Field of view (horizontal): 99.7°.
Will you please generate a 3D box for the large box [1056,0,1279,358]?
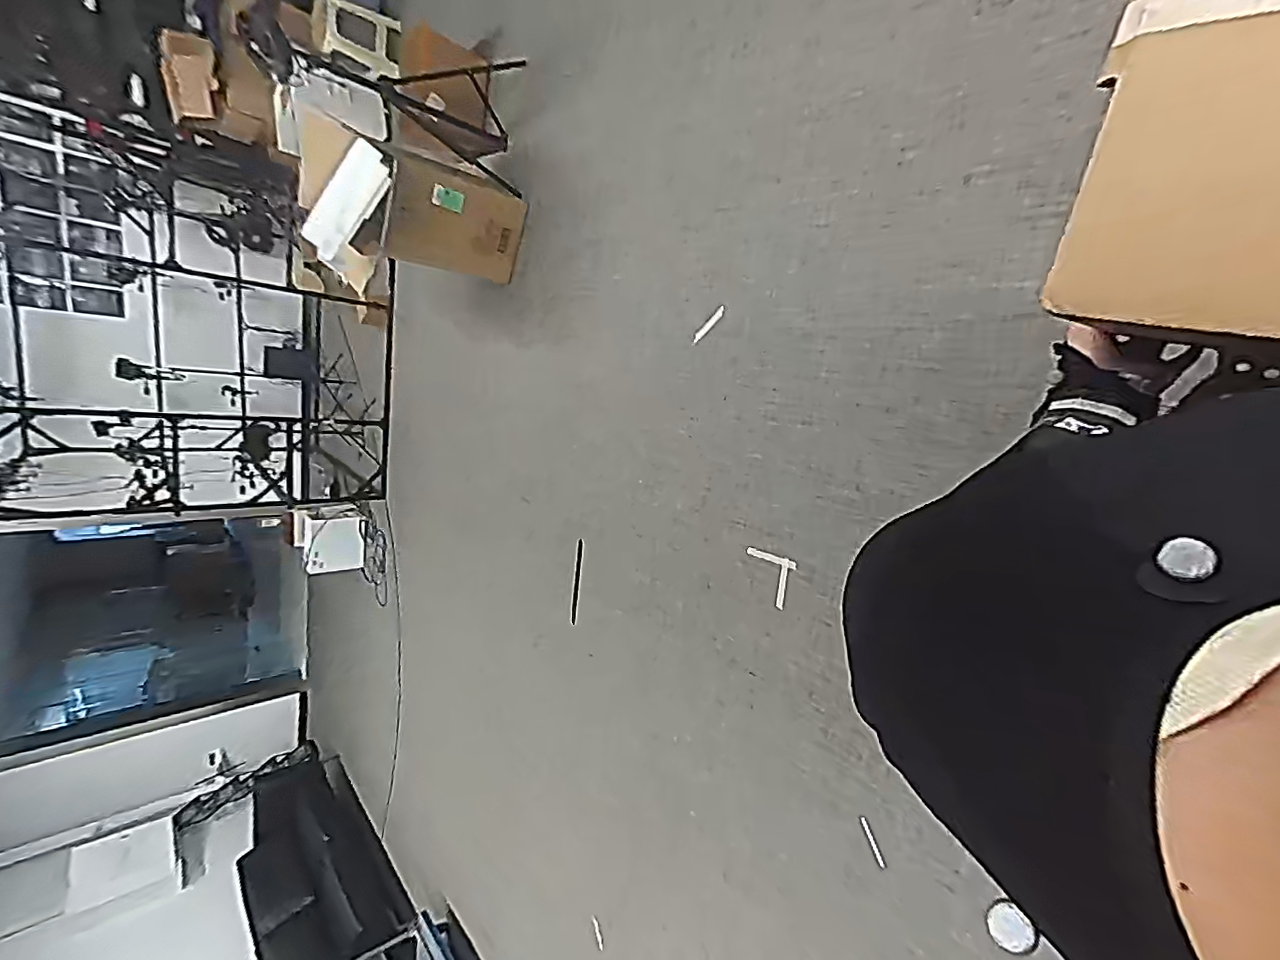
[{"bbox_3d":[0.521,-0.205,0.262,0.408,0.320,0.320,27,117,43],"label":"large box"}]
